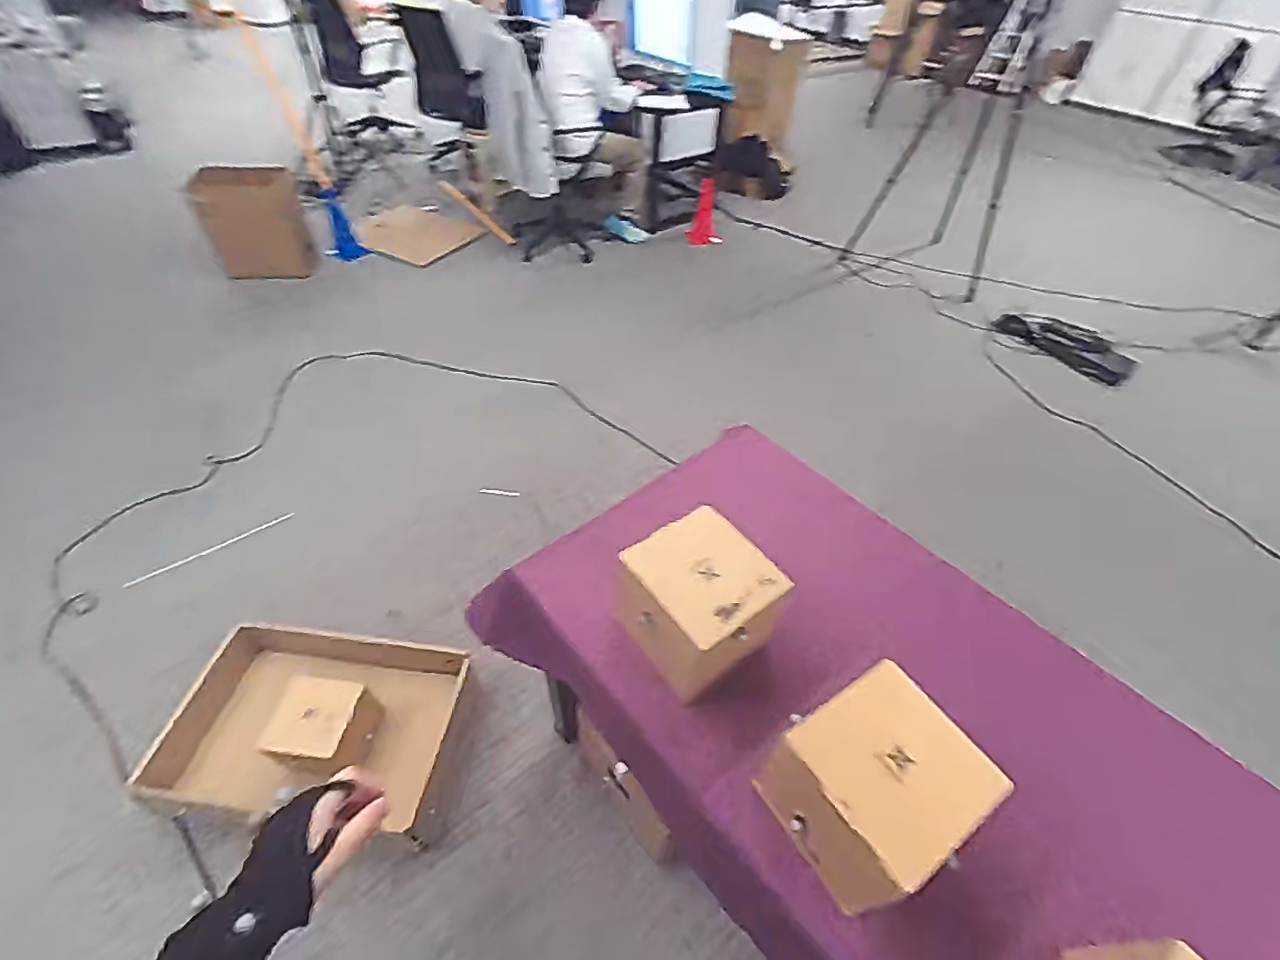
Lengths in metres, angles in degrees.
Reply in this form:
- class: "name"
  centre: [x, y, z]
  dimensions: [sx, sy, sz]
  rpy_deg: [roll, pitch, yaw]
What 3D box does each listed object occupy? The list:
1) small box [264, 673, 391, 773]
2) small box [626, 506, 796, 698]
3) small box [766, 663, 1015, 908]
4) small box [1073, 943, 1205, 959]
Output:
- class: "small box"
  centre: [-0.730, 0.580, 1.285]
  dimensions: [0.179, 0.176, 0.168]
  rpy_deg: [6, 48, 3]
- class: "small box"
  centre: [0.090, 0.176, 0.784]
  dimensions: [0.168, 0.176, 0.179]
  rpy_deg: [-28, 54, -26]
- class: "small box"
  centre: [0.274, 0.355, 0.632]
  dimensions: [0.179, 0.176, 0.168]
  rpy_deg: [-24, 52, -23]
- class: "small box"
  centre: [0.460, 0.549, 0.457]
  dimensions: [0.179, 0.176, 0.168]
  rpy_deg: [-27, 54, -27]
